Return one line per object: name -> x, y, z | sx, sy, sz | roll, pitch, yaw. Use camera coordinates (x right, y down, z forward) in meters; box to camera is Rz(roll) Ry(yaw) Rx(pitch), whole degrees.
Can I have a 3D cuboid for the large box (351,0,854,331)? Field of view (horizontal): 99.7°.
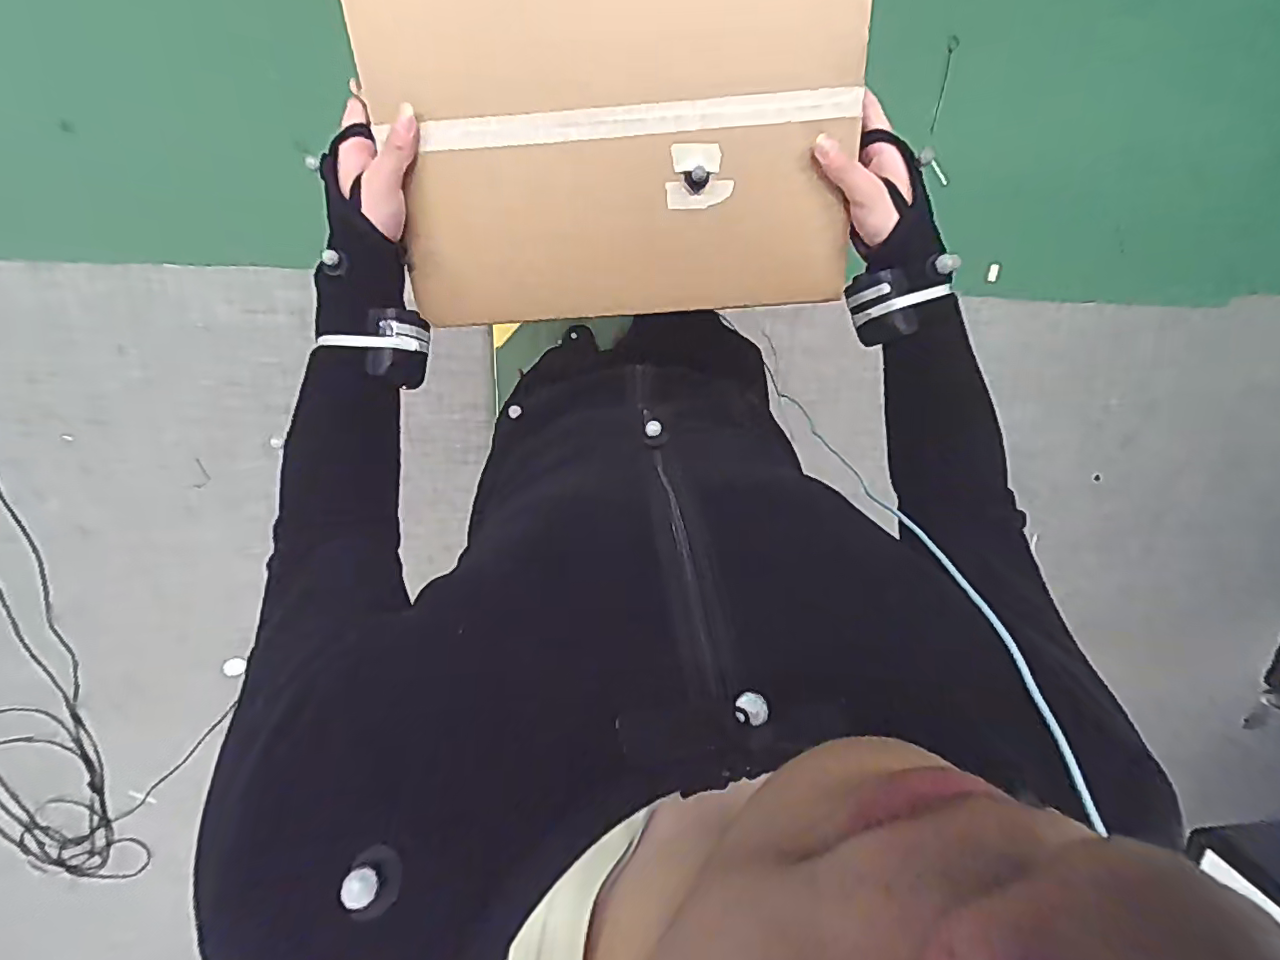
large box -> -0.026, -0.365, 0.599 | 0.408, 0.320, 0.320 | -4, 117, 1
